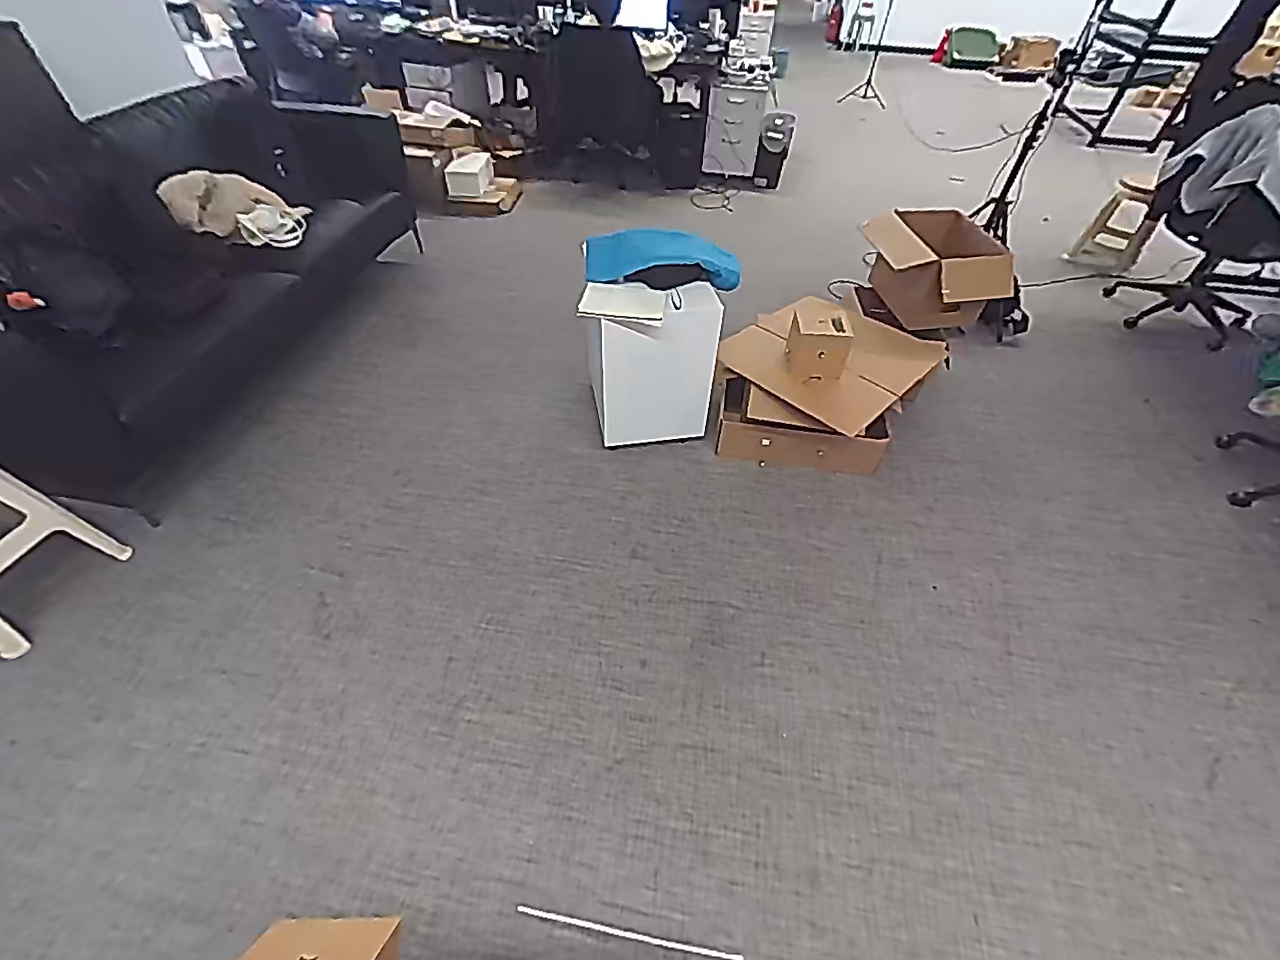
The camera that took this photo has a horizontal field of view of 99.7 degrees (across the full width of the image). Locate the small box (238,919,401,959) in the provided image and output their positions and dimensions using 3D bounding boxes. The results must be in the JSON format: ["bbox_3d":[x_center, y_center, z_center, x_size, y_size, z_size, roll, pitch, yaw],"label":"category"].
[{"bbox_3d":[-0.401,0.656,0.627,0.168,0.179,0.176,0,81,-1],"label":"small box"}]
